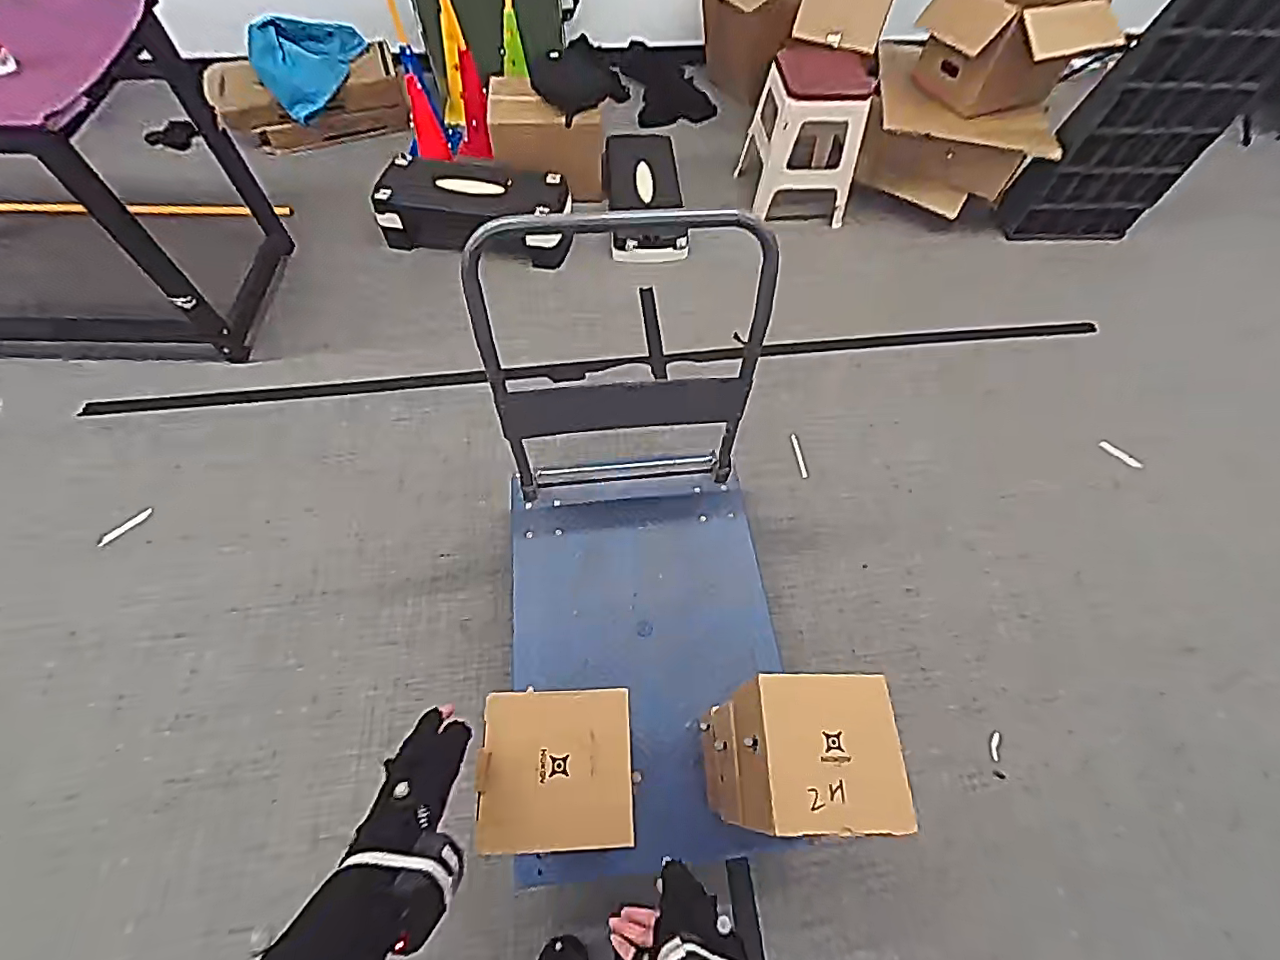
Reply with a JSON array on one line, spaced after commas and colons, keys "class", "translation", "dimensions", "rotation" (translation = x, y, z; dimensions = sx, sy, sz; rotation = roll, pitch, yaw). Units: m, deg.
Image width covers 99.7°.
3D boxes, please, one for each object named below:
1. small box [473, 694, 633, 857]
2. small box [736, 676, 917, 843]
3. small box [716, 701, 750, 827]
[{"class": "small box", "translation": [-0.099, 0.373, 0.693], "dimensions": [0.179, 0.176, 0.168], "rotation": [0, 62, -3]}, {"class": "small box", "translation": [0.226, 0.366, 0.711], "dimensions": [0.168, 0.176, 0.179], "rotation": [2, 61, -2]}, {"class": "small box", "translation": [0.219, 0.449, 0.854], "dimensions": [0.179, 0.176, 0.168], "rotation": [1, 61, -3]}]
